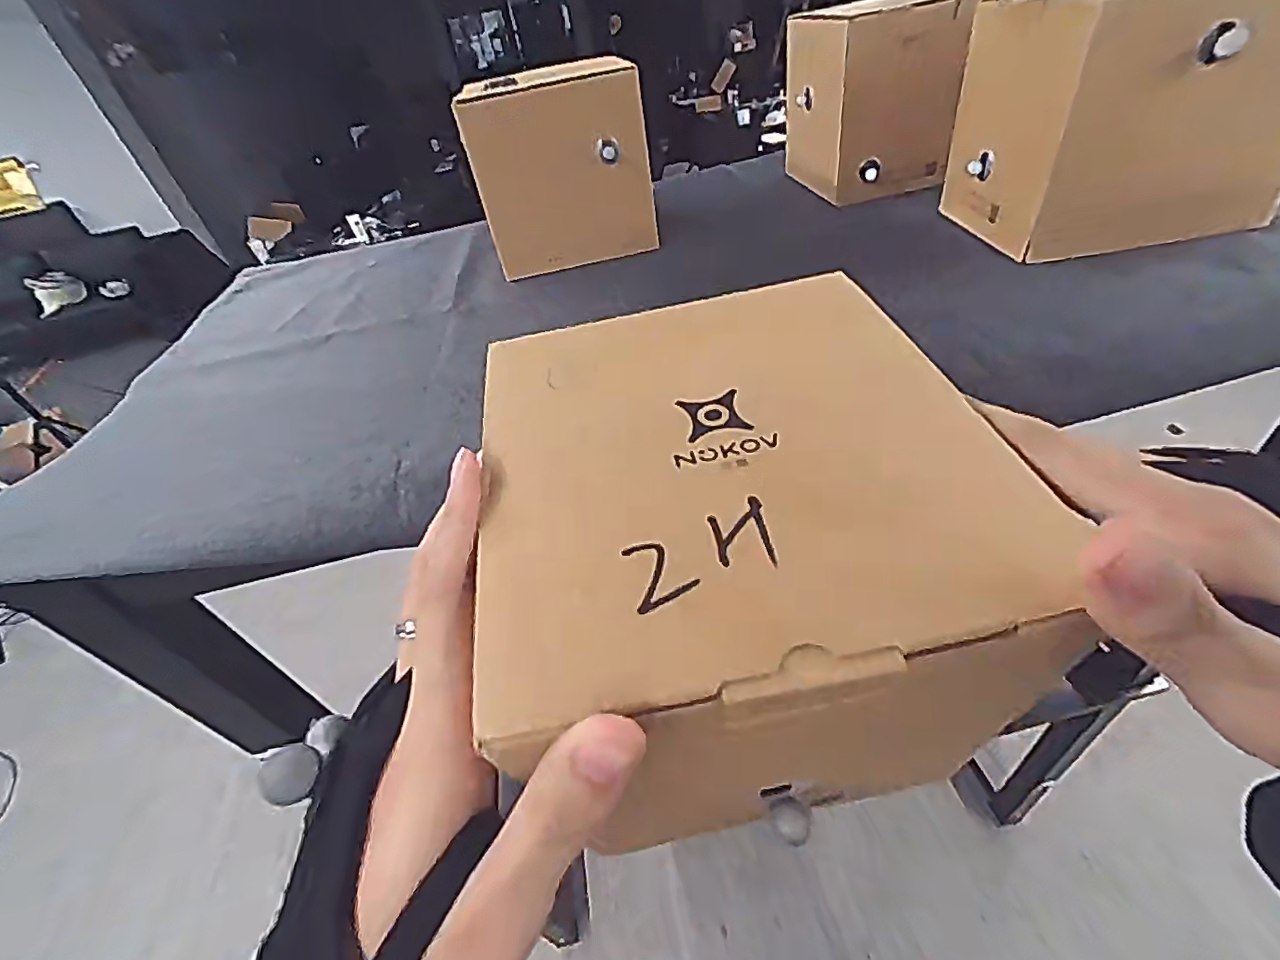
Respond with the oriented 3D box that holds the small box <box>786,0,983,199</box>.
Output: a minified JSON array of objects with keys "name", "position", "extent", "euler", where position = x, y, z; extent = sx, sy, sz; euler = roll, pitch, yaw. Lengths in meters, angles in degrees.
[{"name":"small box","position":[0.275,-0.436,0.614],"extent":[0.168,0.176,0.179],"euler":[-12,40,1]}]

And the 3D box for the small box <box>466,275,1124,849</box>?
[{"name":"small box","position":[0.036,0.037,0.245],"extent":[0.168,0.176,0.179],"euler":[-12,47,0]}]

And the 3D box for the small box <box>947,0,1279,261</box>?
[{"name":"small box","position":[0.375,-0.292,0.425],"extent":[0.179,0.176,0.168],"euler":[-8,39,7]}]
